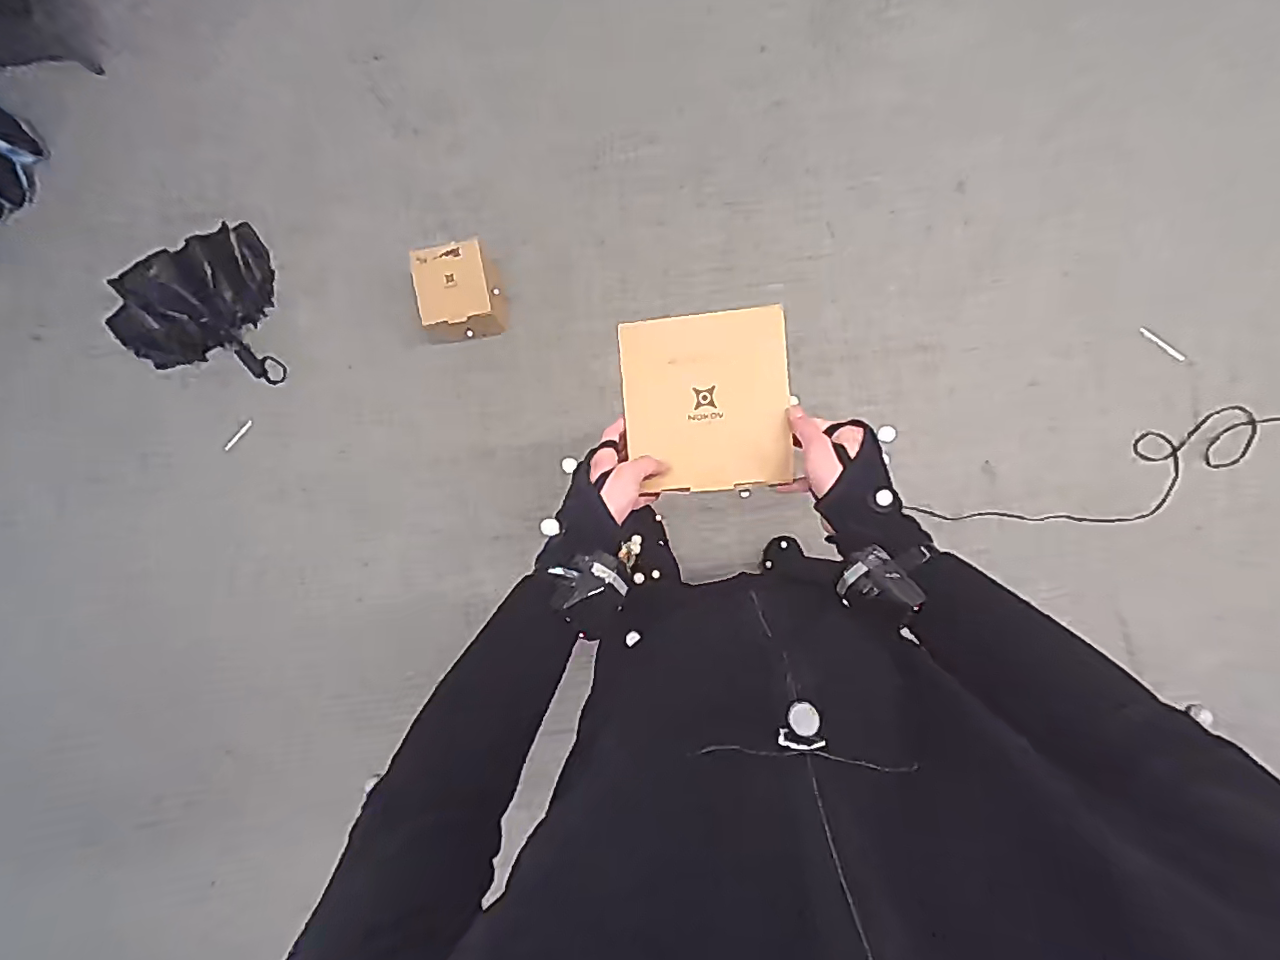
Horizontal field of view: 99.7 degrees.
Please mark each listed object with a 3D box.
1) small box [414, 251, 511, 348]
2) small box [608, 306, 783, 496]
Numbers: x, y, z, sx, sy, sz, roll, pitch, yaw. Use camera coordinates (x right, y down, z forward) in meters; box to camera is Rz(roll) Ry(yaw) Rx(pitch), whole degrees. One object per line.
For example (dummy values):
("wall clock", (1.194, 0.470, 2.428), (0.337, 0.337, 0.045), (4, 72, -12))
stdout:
("small box", (-0.431, -0.435, 1.340), (0.168, 0.176, 0.179), (-11, 90, 0))
("small box", (0.066, -0.079, 0.616), (0.168, 0.176, 0.179), (-5, 90, 8))
